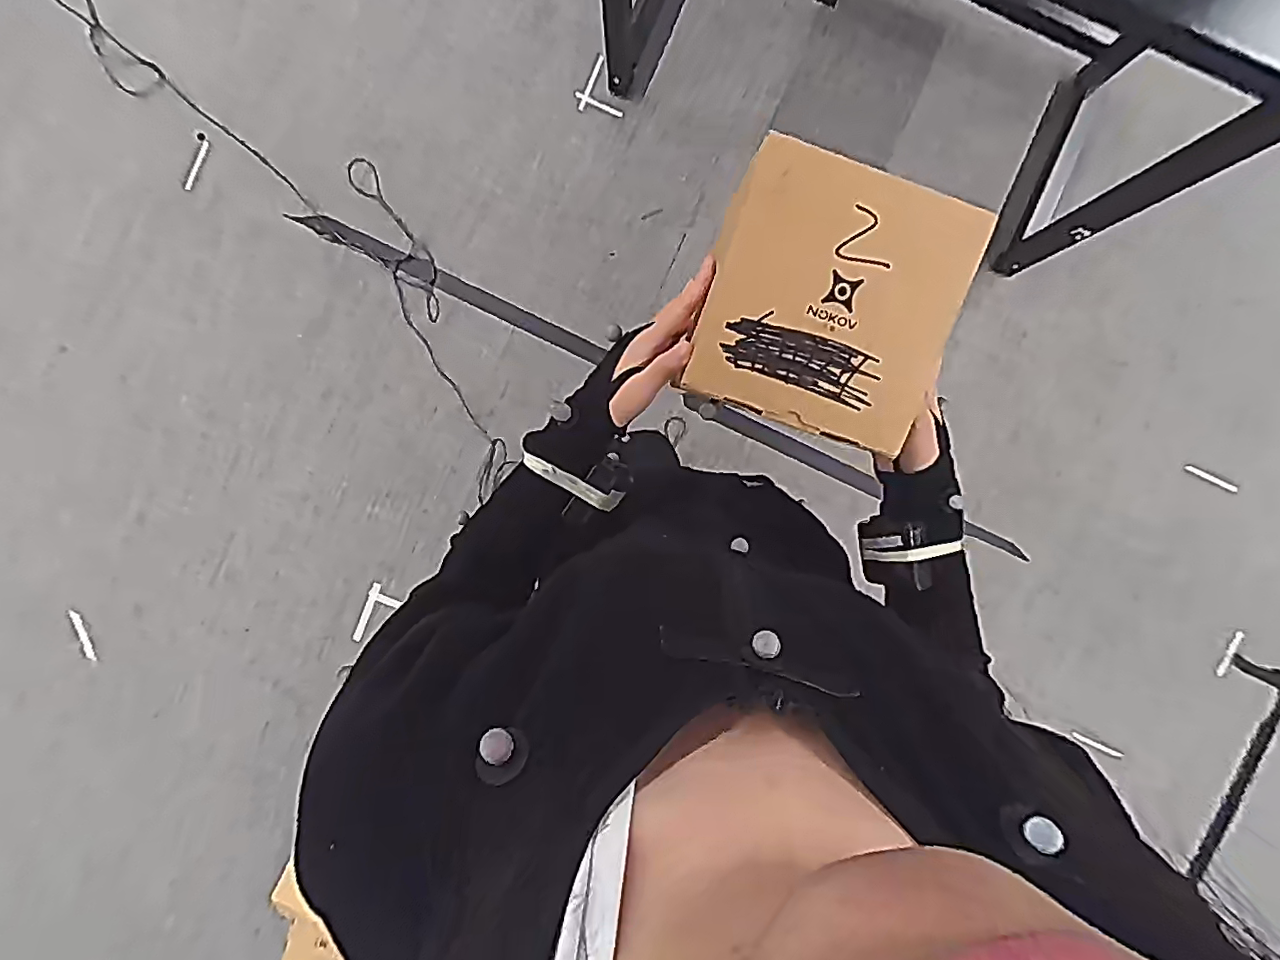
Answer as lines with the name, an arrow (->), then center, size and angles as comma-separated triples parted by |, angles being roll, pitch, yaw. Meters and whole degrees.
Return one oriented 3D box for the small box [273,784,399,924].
small box -> -0.699, 0.864, 1.267 | 0.168, 0.176, 0.179 | 27, 91, -2
